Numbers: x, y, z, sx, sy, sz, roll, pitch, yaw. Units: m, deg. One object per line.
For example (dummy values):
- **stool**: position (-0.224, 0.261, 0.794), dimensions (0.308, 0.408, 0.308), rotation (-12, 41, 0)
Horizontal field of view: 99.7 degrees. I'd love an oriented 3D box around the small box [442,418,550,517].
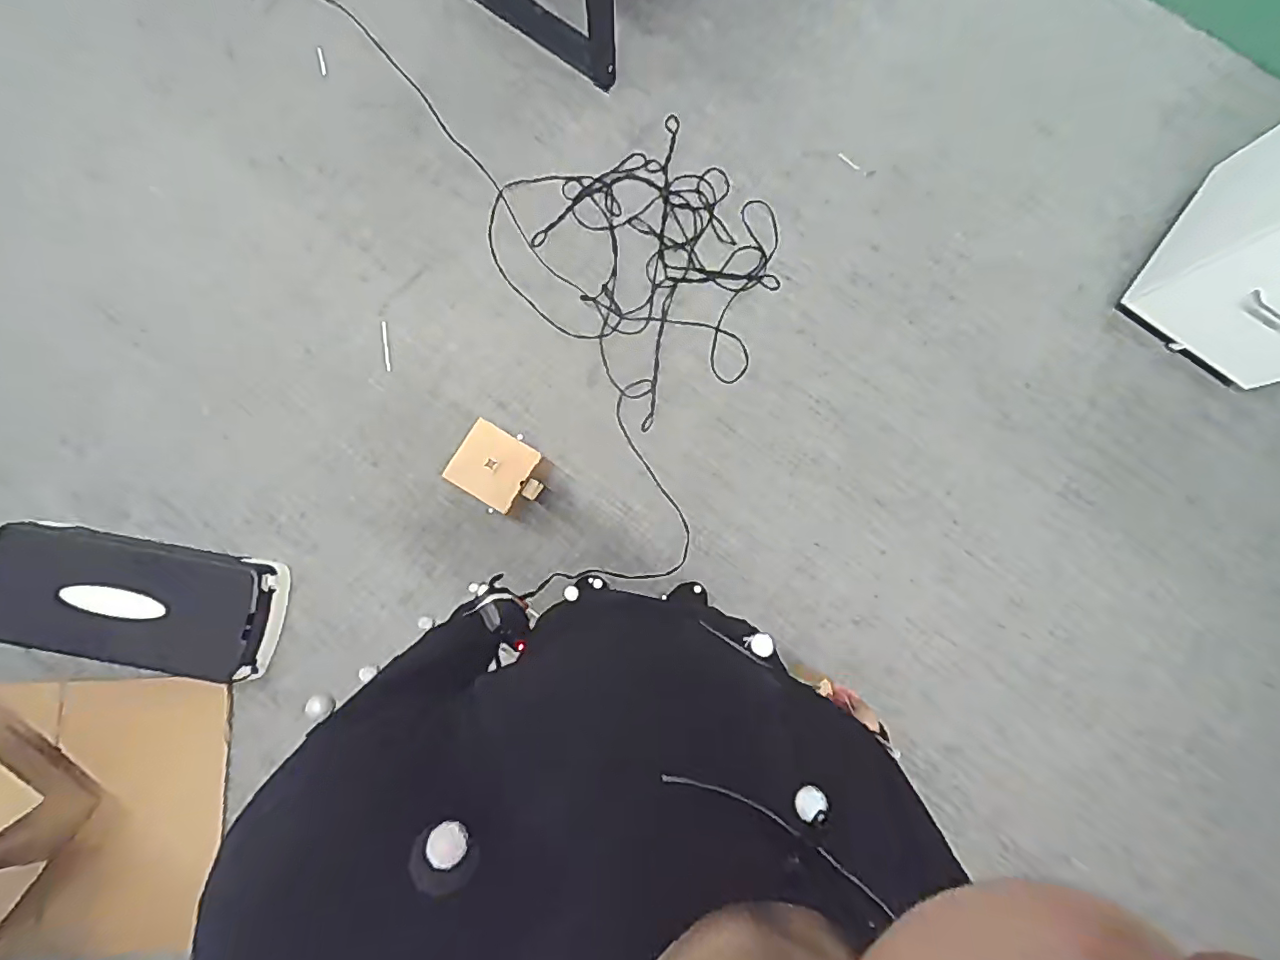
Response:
- **small box**: position (-0.340, -0.020, 1.313), dimensions (0.179, 0.176, 0.168), rotation (31, 82, 2)
